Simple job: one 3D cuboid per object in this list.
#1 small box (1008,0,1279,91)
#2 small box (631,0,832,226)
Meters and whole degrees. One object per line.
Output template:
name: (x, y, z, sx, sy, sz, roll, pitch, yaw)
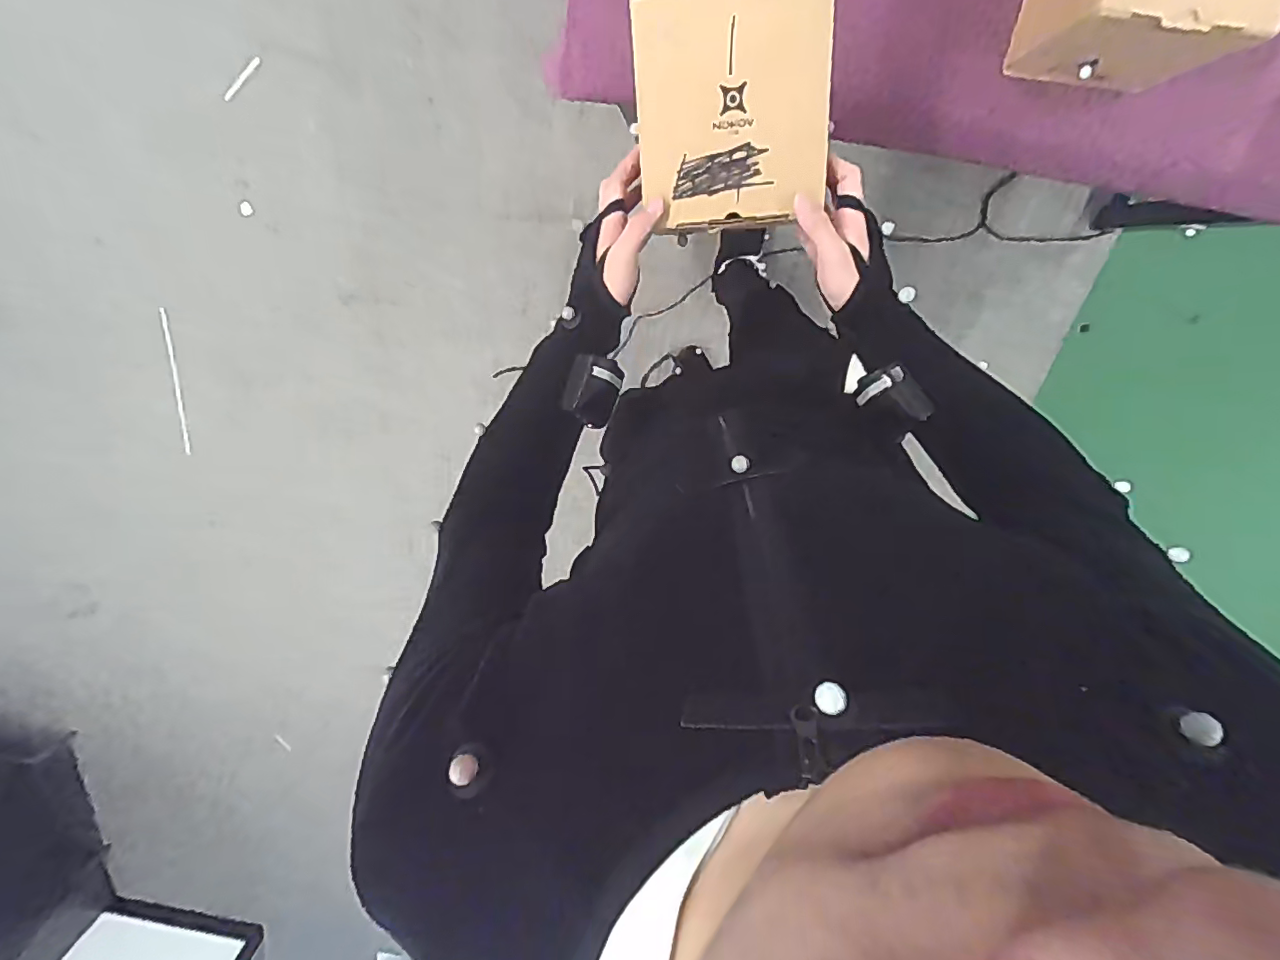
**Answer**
small box: (0.514, -0.524, 0.538, 0.168, 0.176, 0.179, 9, 113, 1)
small box: (0.086, -0.355, 0.539, 0.168, 0.176, 0.179, -2, 111, 7)
